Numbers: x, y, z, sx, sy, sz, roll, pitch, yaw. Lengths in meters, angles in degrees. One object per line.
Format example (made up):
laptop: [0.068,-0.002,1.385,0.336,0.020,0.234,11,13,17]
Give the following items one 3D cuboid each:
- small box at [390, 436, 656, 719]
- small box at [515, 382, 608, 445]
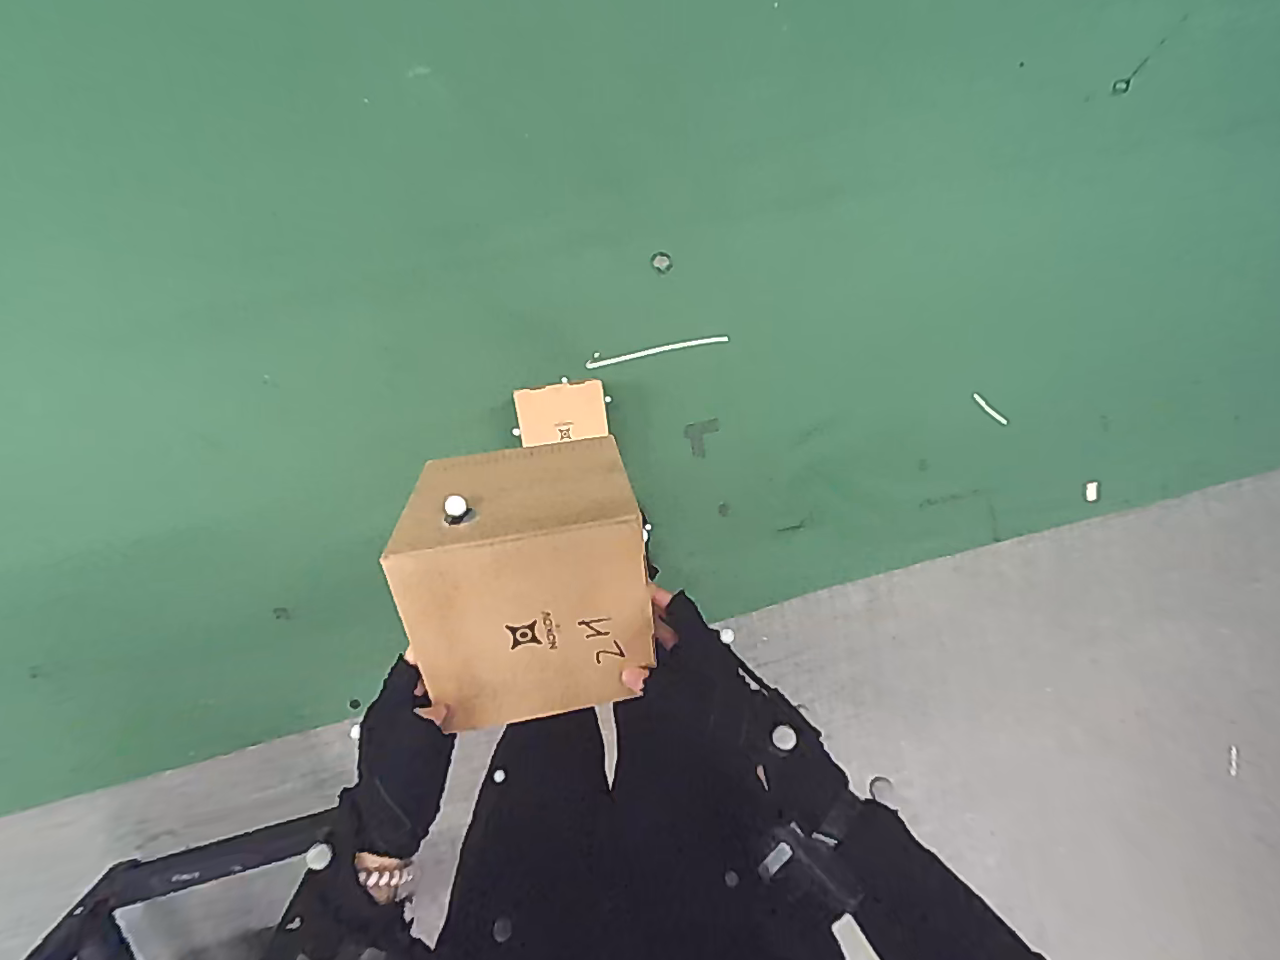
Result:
small box: [-0.090,0.072,0.475,0.179,0.176,0.168,-8,116,-6]
small box: [-0.151,-0.104,1.099,0.168,0.176,0.179,-9,100,-6]
